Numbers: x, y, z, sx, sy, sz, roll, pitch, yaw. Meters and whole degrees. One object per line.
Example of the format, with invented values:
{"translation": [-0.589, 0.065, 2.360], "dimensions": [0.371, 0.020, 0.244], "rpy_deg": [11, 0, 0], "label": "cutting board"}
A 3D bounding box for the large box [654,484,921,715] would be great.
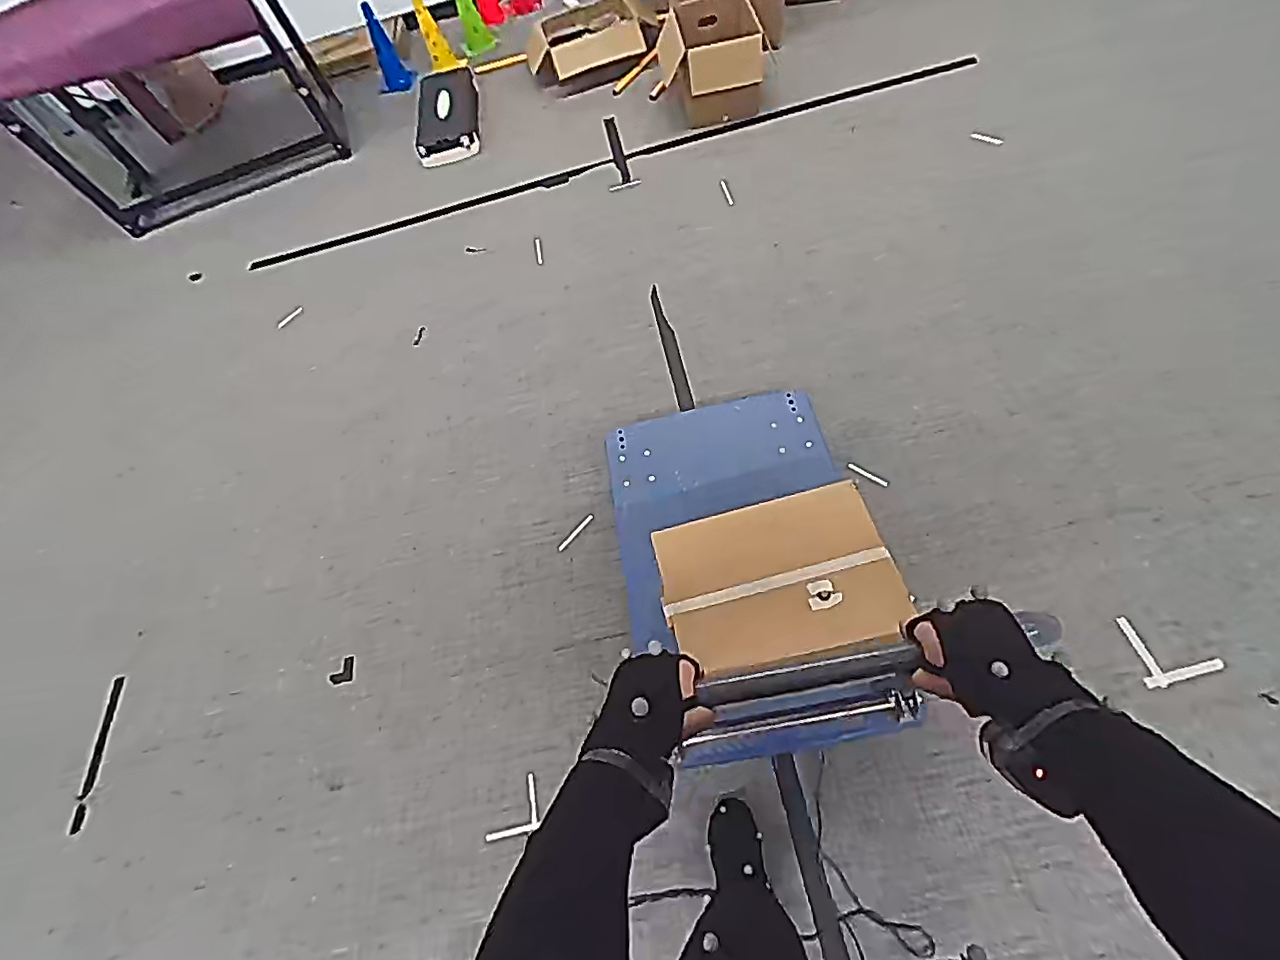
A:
{"translation": [0.272, 0.260, 1.113], "dimensions": [0.408, 0.320, 0.320], "rpy_deg": [-15, 61, 1], "label": "large box"}
